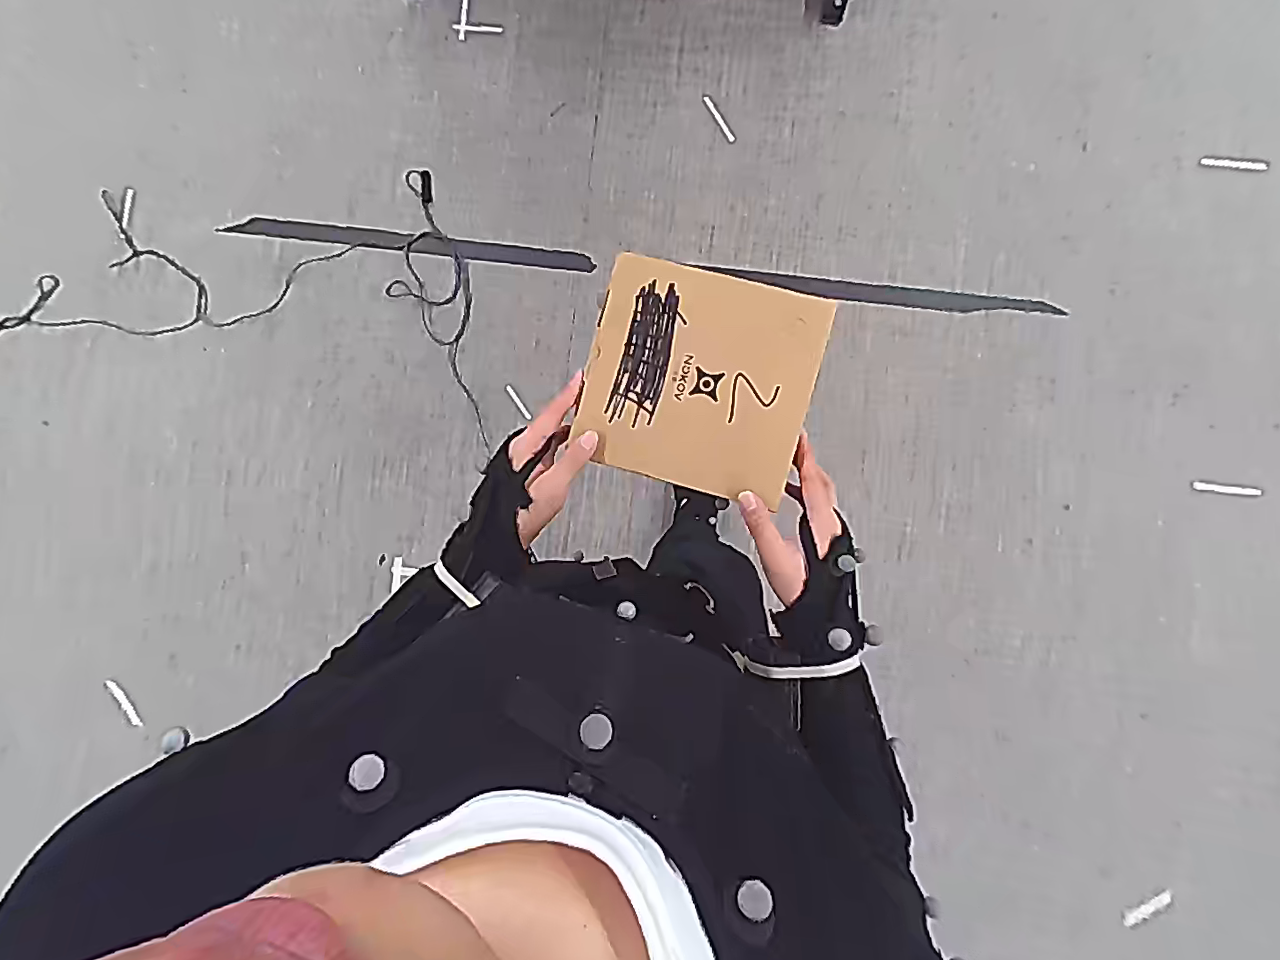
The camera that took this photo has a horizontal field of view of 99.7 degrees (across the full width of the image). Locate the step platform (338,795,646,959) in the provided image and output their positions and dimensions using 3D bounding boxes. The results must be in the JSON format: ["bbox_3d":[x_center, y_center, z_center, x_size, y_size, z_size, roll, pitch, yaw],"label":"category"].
[{"bbox_3d":[-0.329,0.970,1.256,0.684,0.204,0.286,7,88,2],"label":"step platform"}]
